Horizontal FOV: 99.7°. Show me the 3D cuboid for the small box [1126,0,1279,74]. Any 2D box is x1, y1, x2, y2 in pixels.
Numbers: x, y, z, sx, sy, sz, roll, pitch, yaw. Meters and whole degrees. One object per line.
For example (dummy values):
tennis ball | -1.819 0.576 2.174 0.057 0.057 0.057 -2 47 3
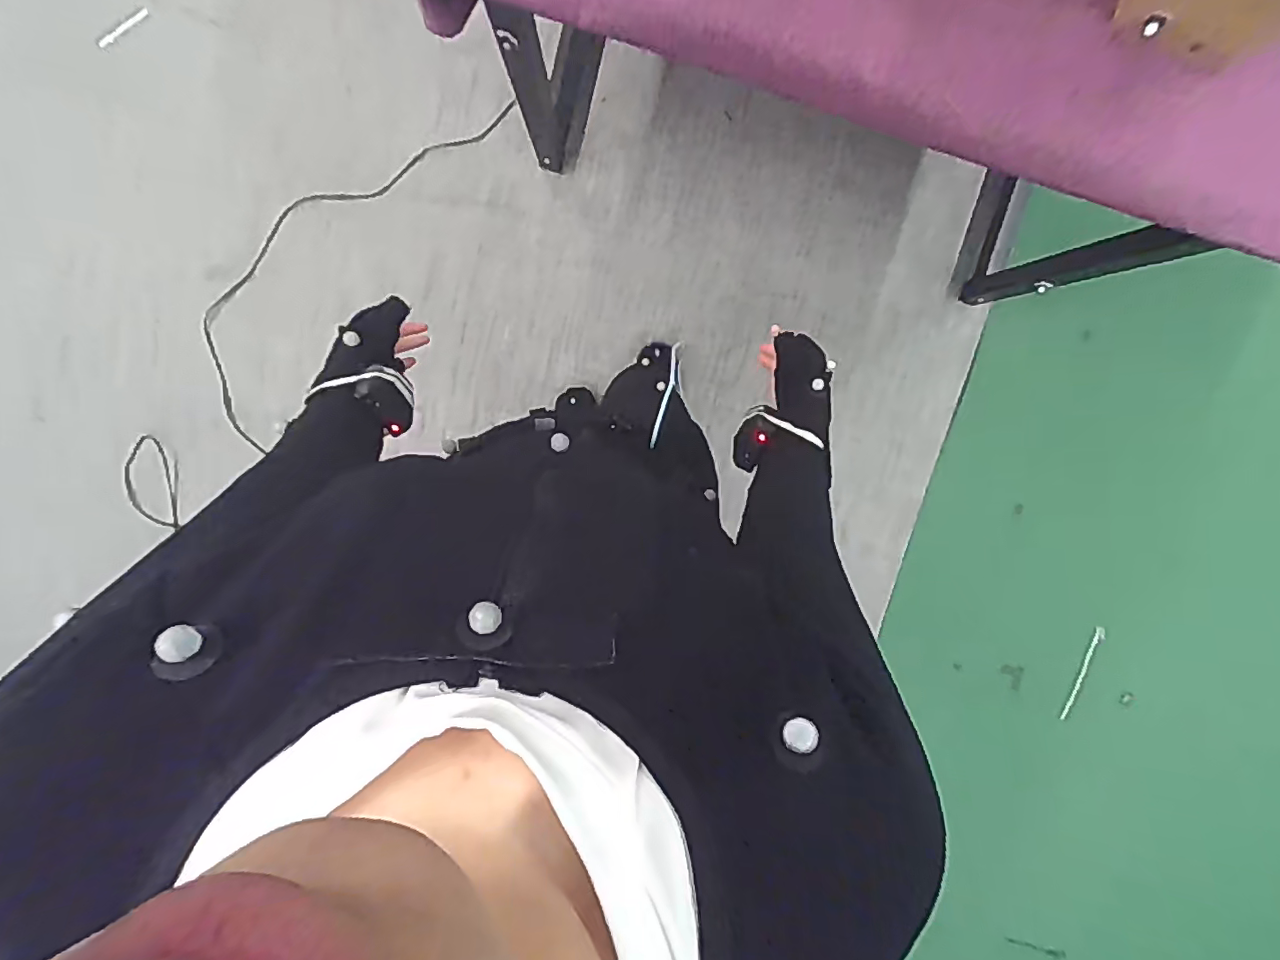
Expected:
small box | 0.688 -0.591 0.579 0.168 0.176 0.179 19 99 -8
